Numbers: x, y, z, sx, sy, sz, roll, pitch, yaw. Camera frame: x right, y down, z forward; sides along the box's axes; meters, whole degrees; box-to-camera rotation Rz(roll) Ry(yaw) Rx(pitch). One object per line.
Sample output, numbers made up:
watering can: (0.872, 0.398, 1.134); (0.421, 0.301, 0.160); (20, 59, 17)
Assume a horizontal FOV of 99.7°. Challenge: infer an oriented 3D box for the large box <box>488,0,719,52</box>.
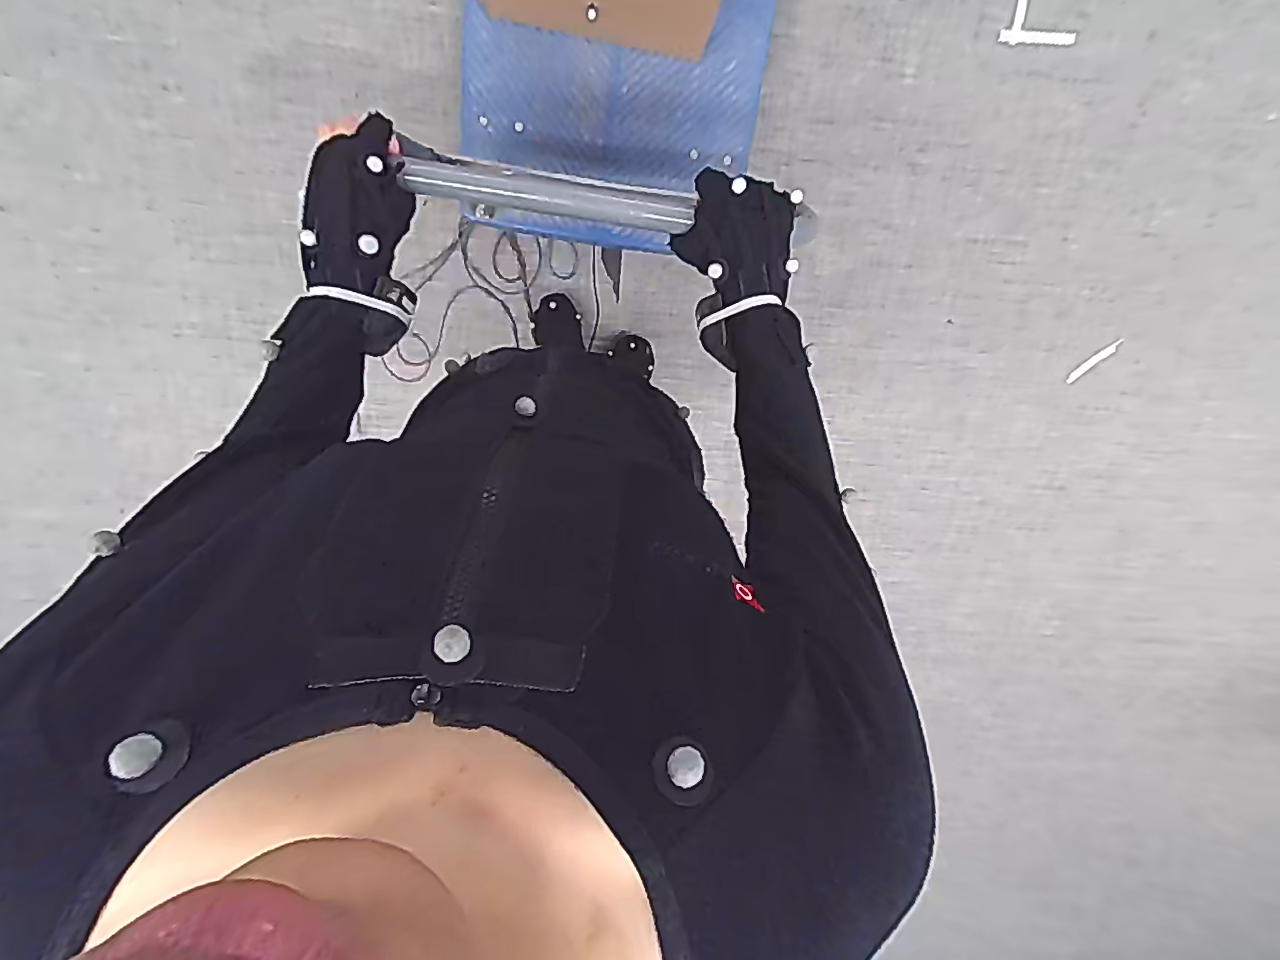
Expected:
large box: (-0.055, -0.935, 0.844); (0.408, 0.320, 0.320); (8, 110, -4)
